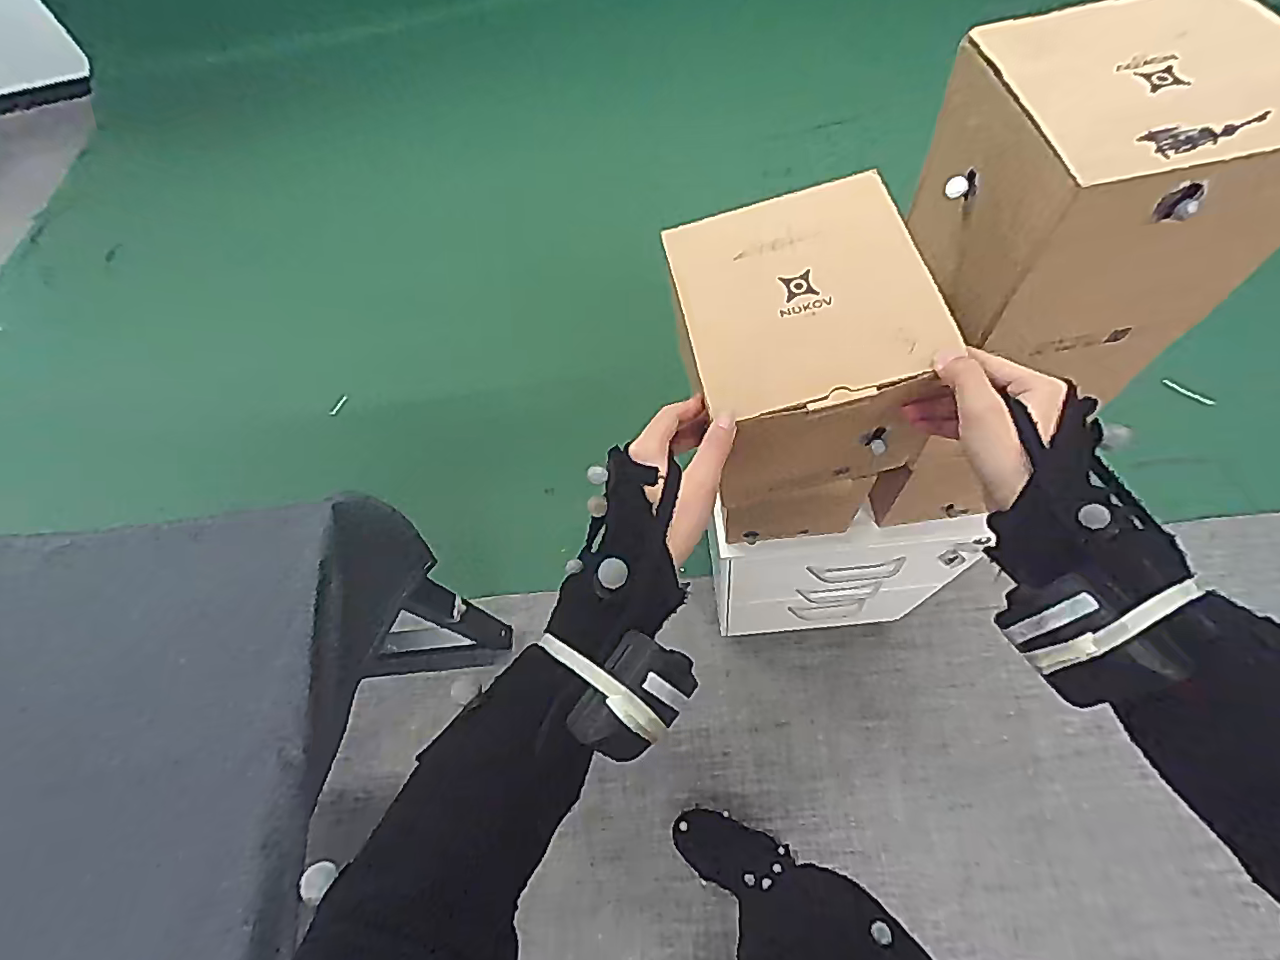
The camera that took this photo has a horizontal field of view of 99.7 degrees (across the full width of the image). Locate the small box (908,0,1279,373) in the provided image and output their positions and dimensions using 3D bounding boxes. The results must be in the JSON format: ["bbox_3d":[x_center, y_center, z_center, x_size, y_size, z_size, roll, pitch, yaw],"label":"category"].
[{"bbox_3d":[0.327,-0.207,0.404,0.168,0.176,0.179,-8,61,5],"label":"small box"}]

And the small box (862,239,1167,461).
[{"bbox_3d":[0.347,-0.132,0.548,0.168,0.176,0.179,-10,62,3],"label":"small box"}]
